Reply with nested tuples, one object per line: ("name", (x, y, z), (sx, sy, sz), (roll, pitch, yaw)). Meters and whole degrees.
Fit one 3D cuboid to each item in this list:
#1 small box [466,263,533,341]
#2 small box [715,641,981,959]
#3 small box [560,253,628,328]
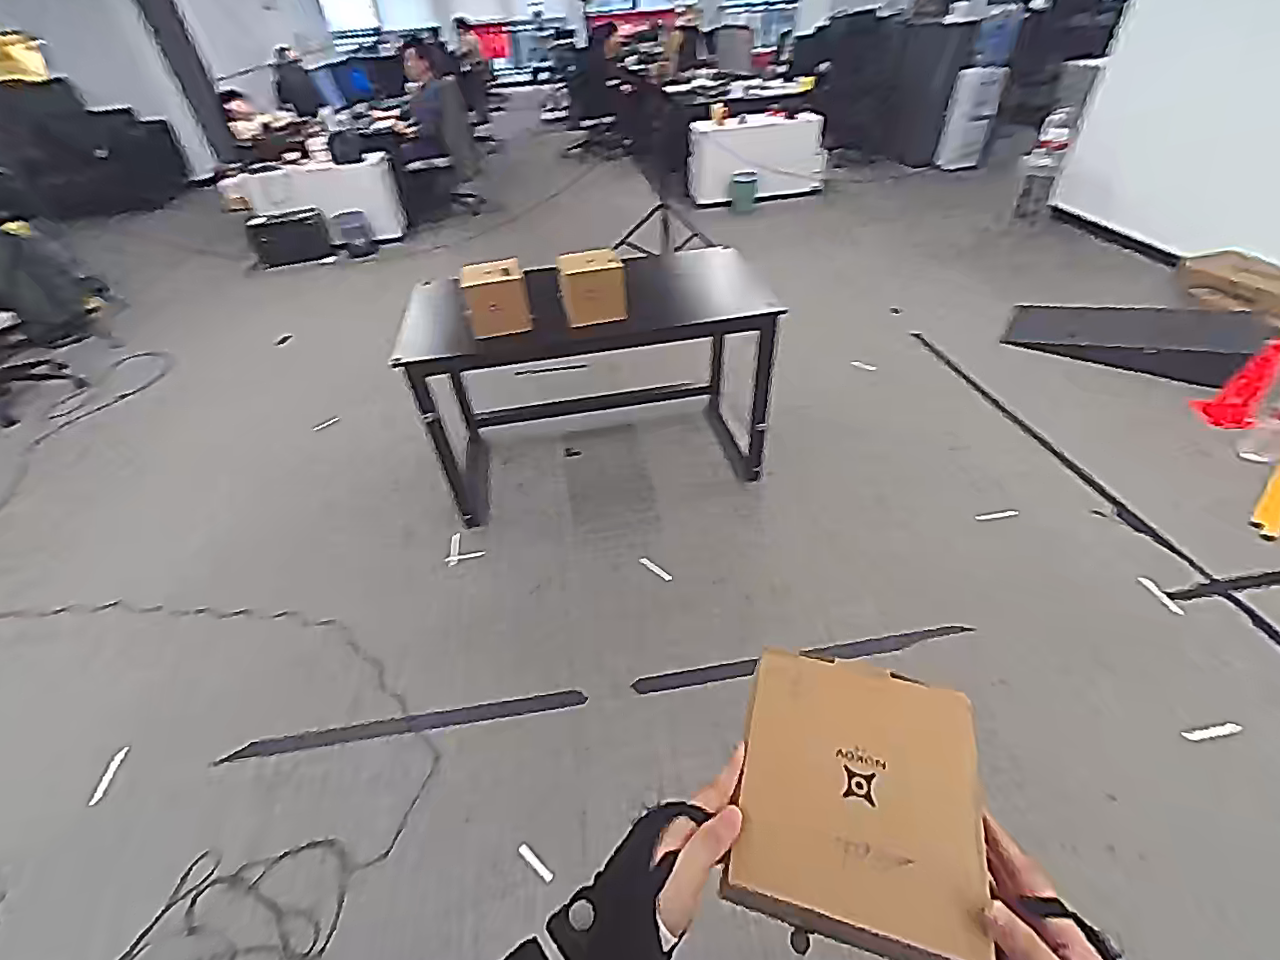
("small box", (-0.435, -0.555, 1.686), (0.179, 0.176, 0.168), (-13, 42, -8))
("small box", (0.159, 0.269, 0.462), (0.168, 0.176, 0.179), (9, 51, 13))
("small box", (-0.144, -0.597, 1.709), (0.179, 0.176, 0.168), (-12, 42, -8))
